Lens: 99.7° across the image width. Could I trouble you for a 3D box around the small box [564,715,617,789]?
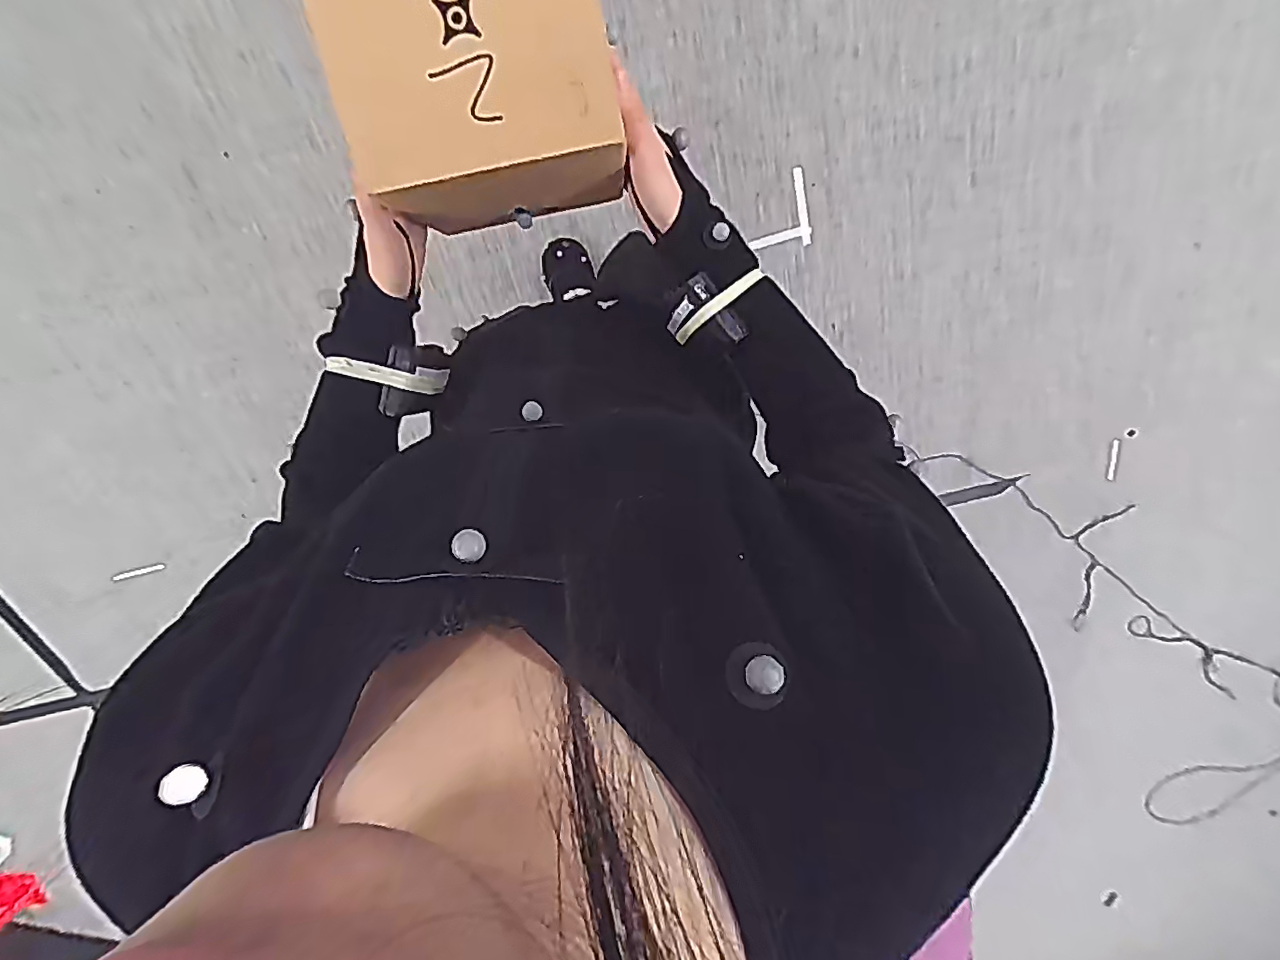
[{"bbox_3d":[-0.175,0.950,1.899,0.179,0.176,0.168,1,114,-7],"label":"small box"}]
